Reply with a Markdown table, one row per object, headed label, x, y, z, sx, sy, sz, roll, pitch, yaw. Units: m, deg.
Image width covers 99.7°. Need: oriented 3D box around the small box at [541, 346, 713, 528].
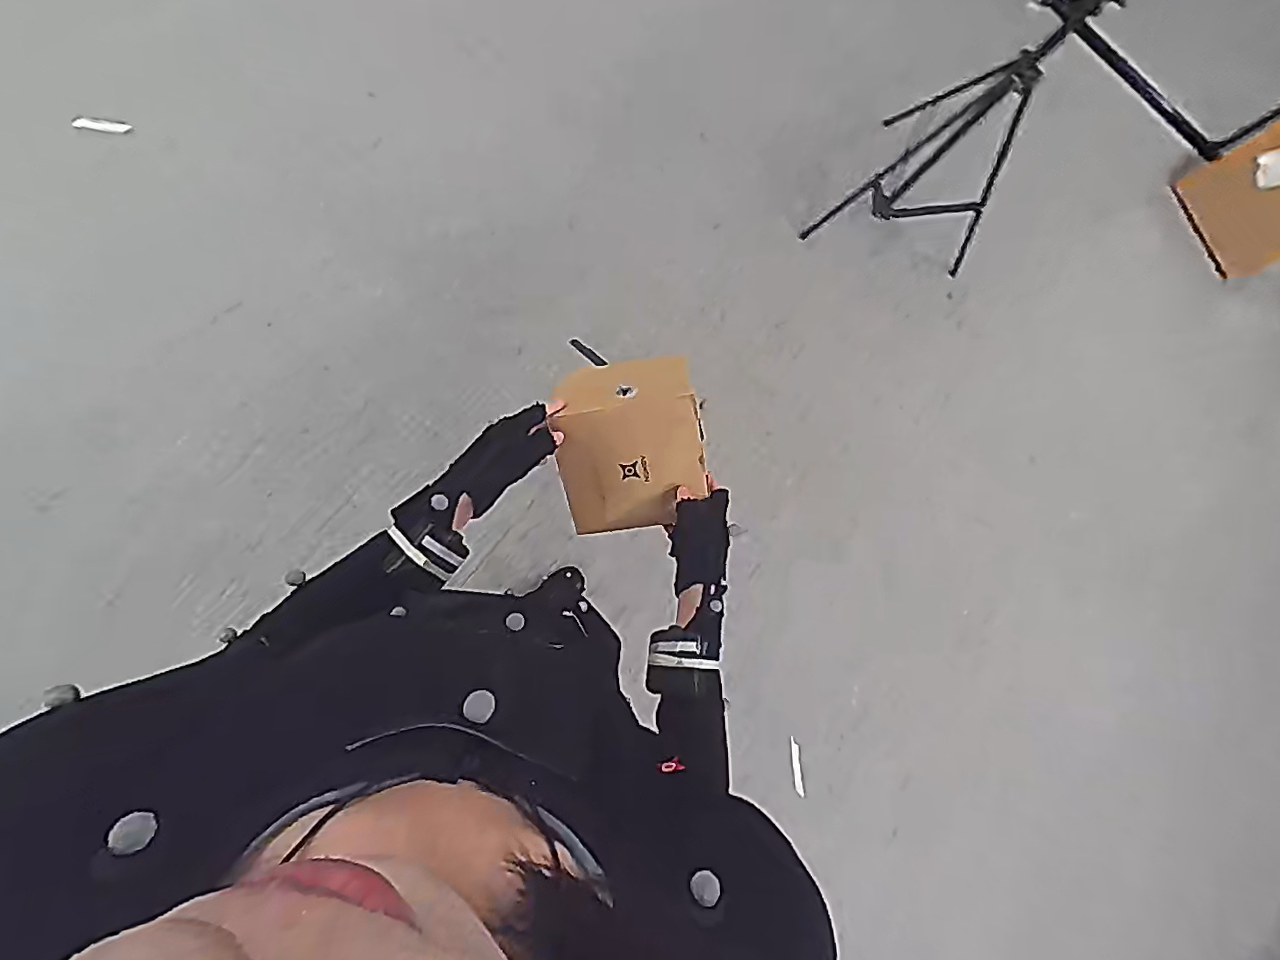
| label | x | y | z | sx | sy | sz | roll | pitch | yaw |
| --- | --- | --- | --- | --- | --- | --- | --- | --- | --- |
| small box | -0.010 | -0.062 | 0.696 | 0.179 | 0.176 | 0.168 | -9 | 117 | 7 |
